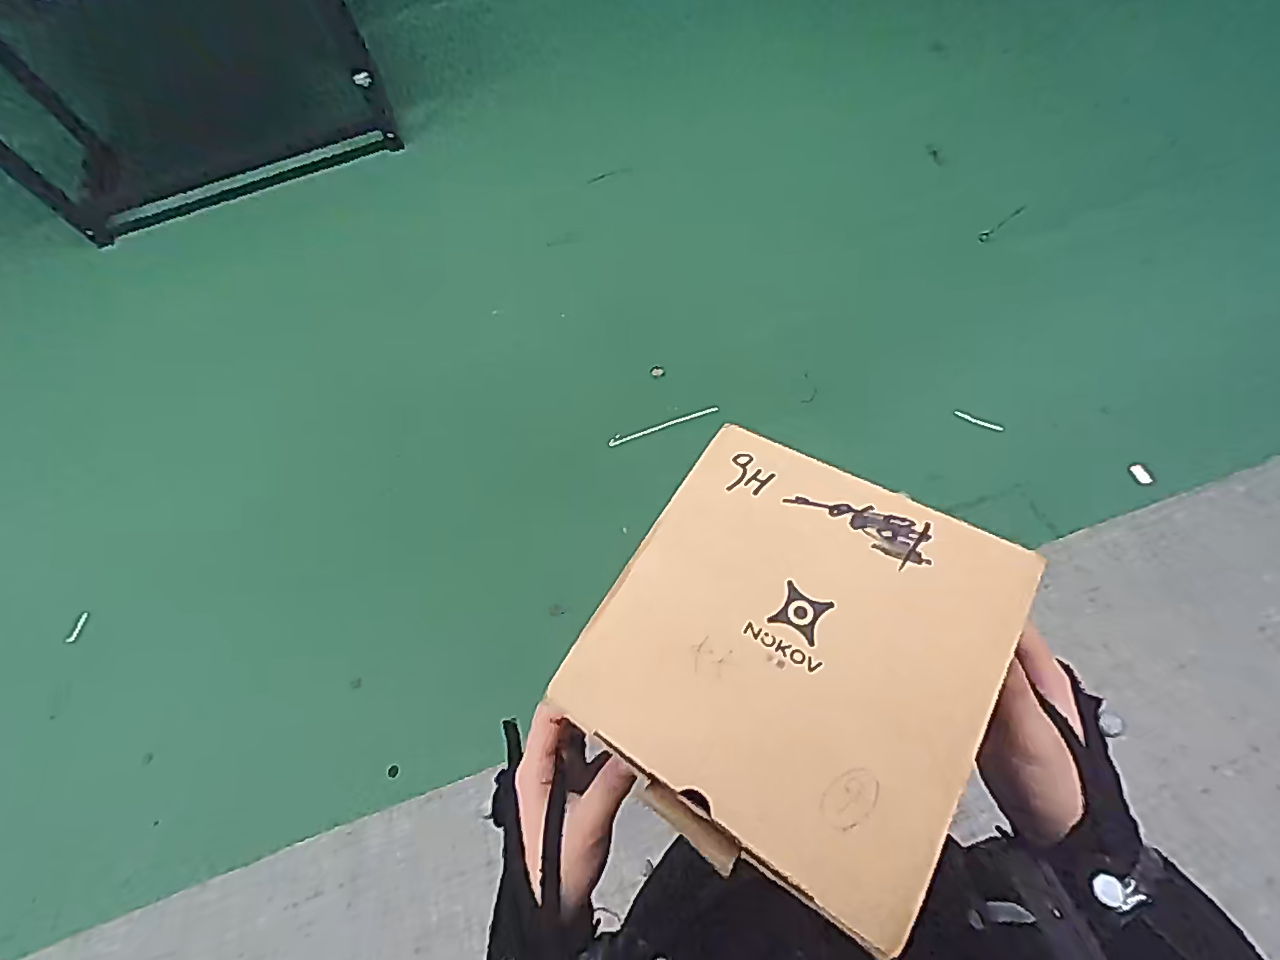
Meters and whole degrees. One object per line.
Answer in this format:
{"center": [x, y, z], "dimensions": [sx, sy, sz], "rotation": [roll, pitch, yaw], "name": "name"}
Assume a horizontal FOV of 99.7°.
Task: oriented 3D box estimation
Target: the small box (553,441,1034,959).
{"center": [0.083, 0.115, 0.322], "dimensions": [0.168, 0.176, 0.179], "rotation": [27, 69, 23], "name": "small box"}
